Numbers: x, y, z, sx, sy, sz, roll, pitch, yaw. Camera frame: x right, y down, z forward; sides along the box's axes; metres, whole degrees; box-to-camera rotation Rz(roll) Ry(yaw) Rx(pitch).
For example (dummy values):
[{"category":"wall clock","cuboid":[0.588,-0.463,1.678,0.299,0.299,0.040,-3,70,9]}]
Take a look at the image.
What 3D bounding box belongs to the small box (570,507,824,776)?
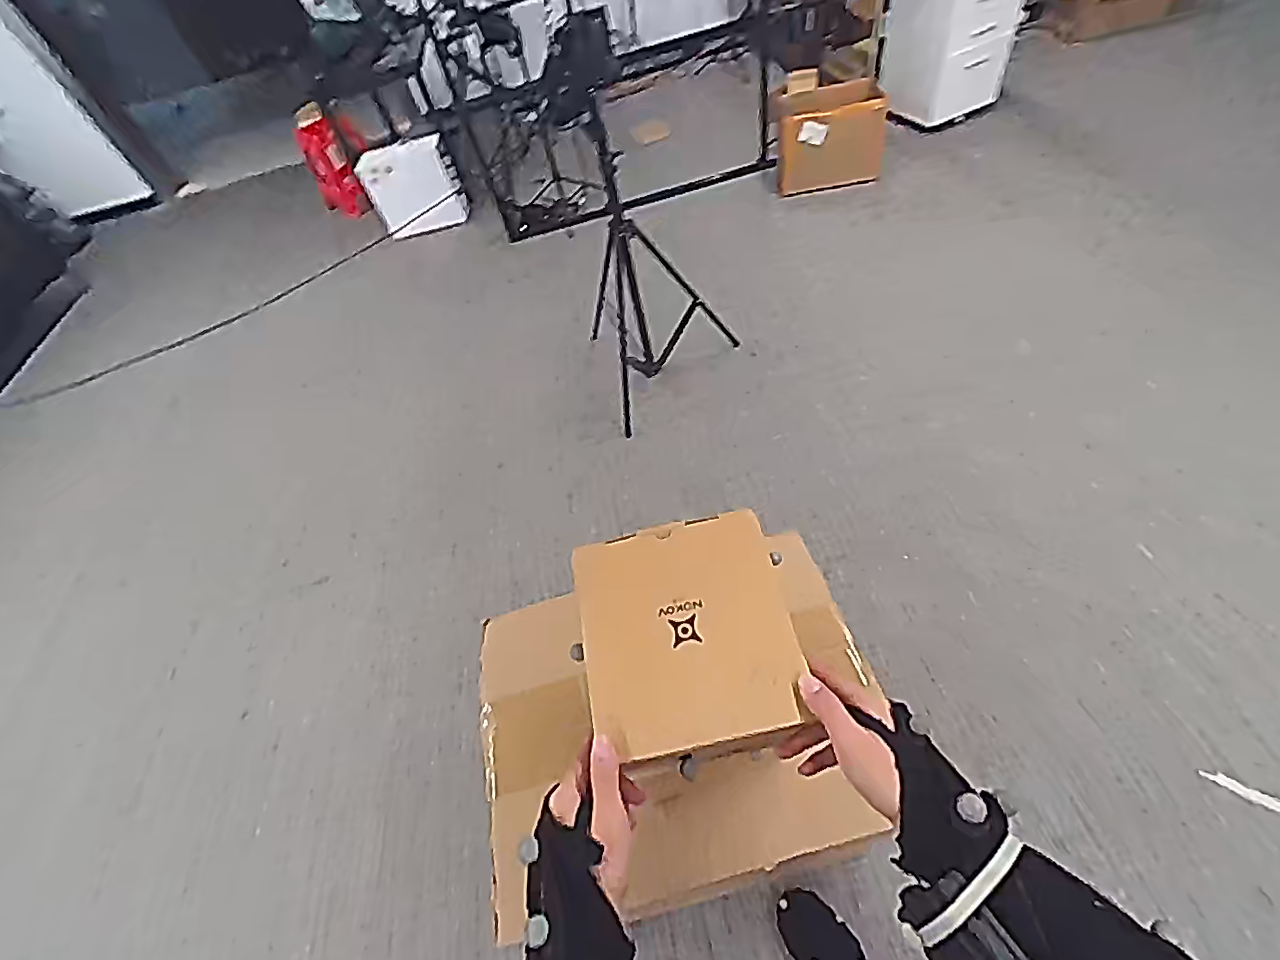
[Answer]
[{"category":"small box","cuboid":[0.045,0.152,0.480,0.168,0.176,0.179,-13,57,1]}]
